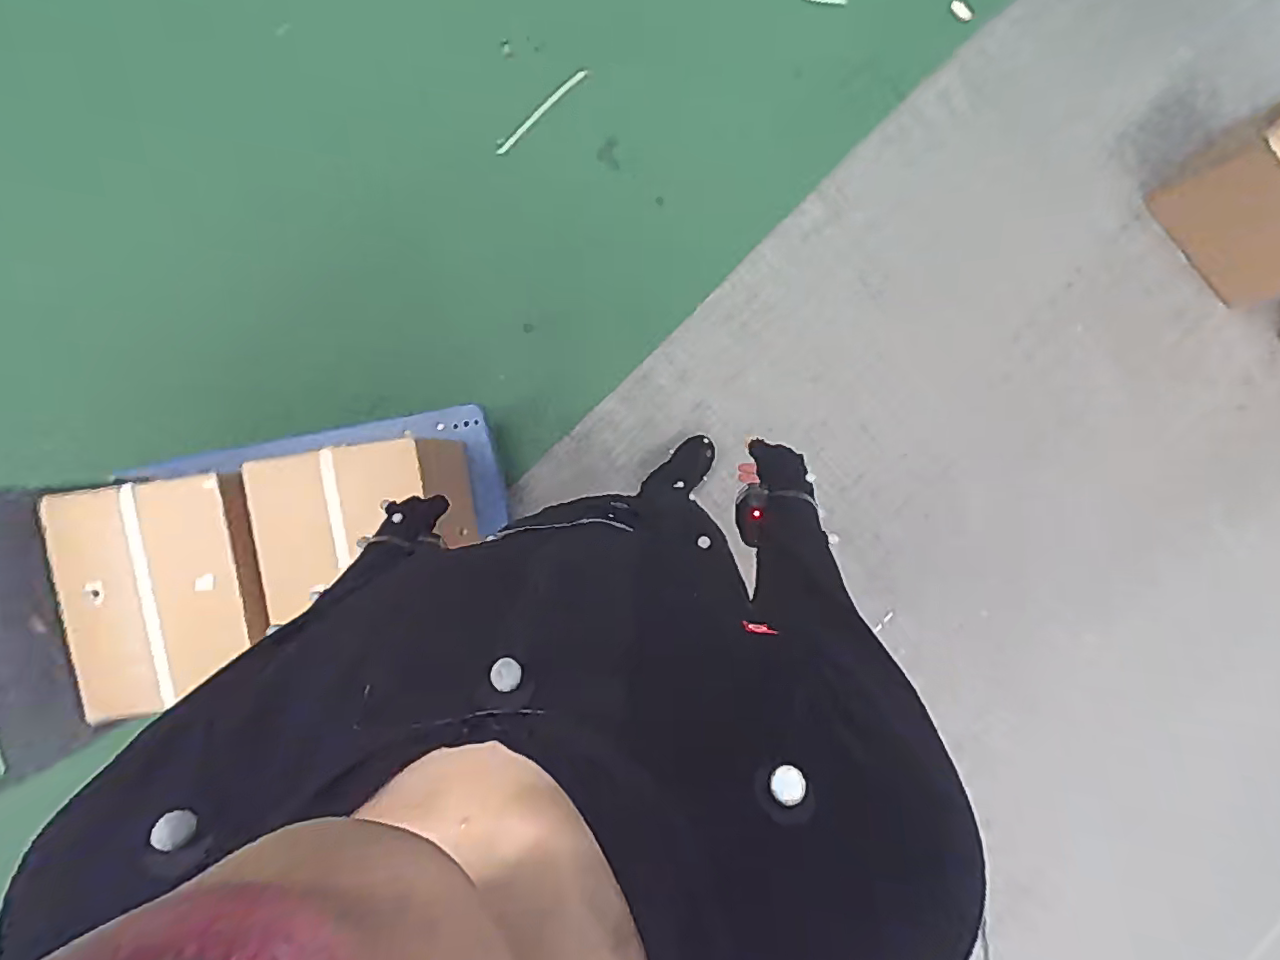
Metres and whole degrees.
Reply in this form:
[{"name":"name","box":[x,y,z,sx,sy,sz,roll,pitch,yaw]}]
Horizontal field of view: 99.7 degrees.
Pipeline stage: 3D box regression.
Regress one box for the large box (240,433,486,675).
[{"name":"large box","box":[-0.535,0.127,1.123,0.320,0.320,0.408,-9,93,-2]}]
